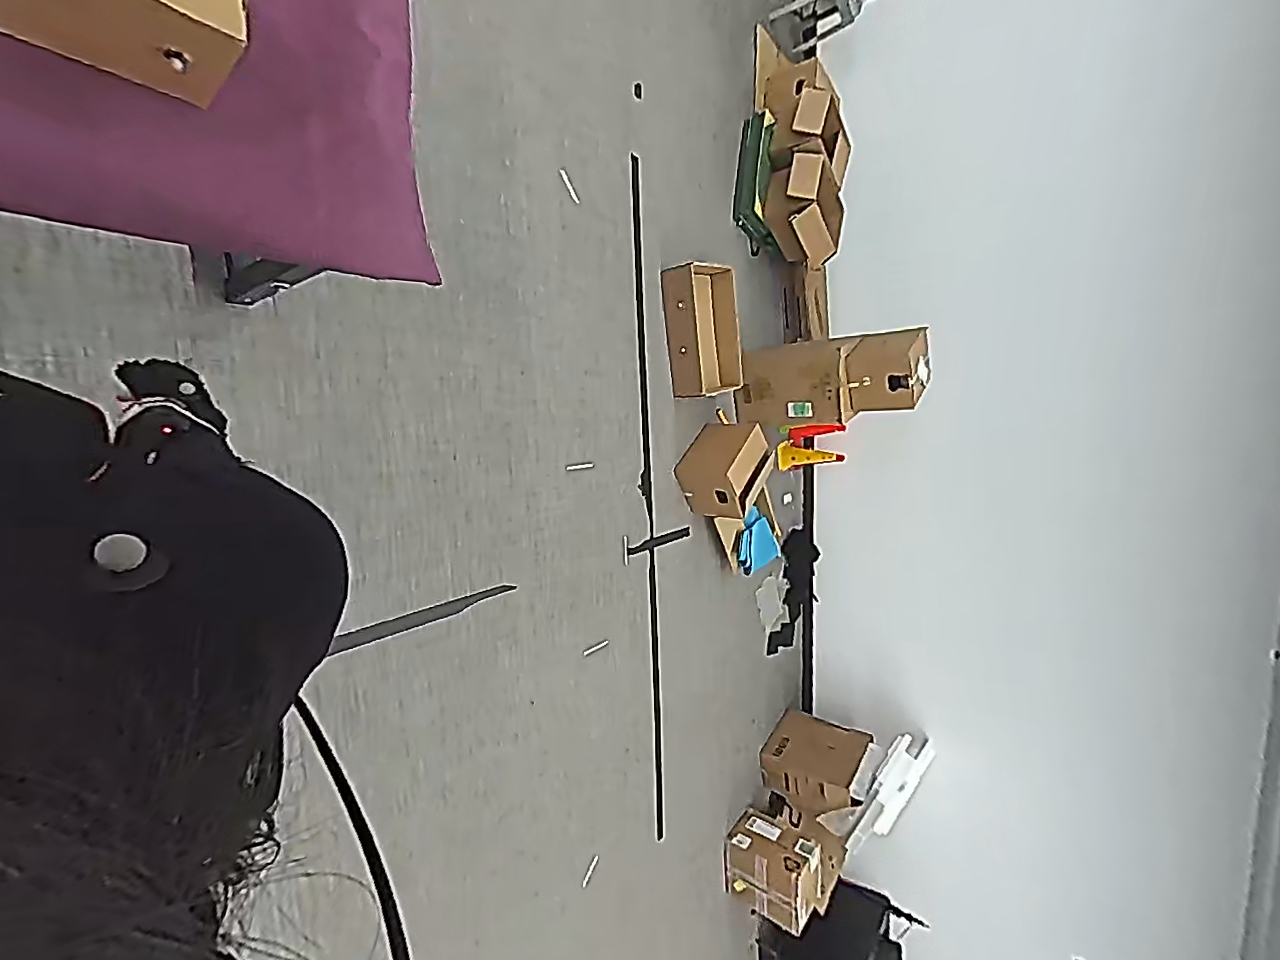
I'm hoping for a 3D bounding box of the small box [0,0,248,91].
[{"bbox_3d":[-0.508,-0.518,0.518,0.179,0.176,0.168,-5,95,-50],"label":"small box"}]
